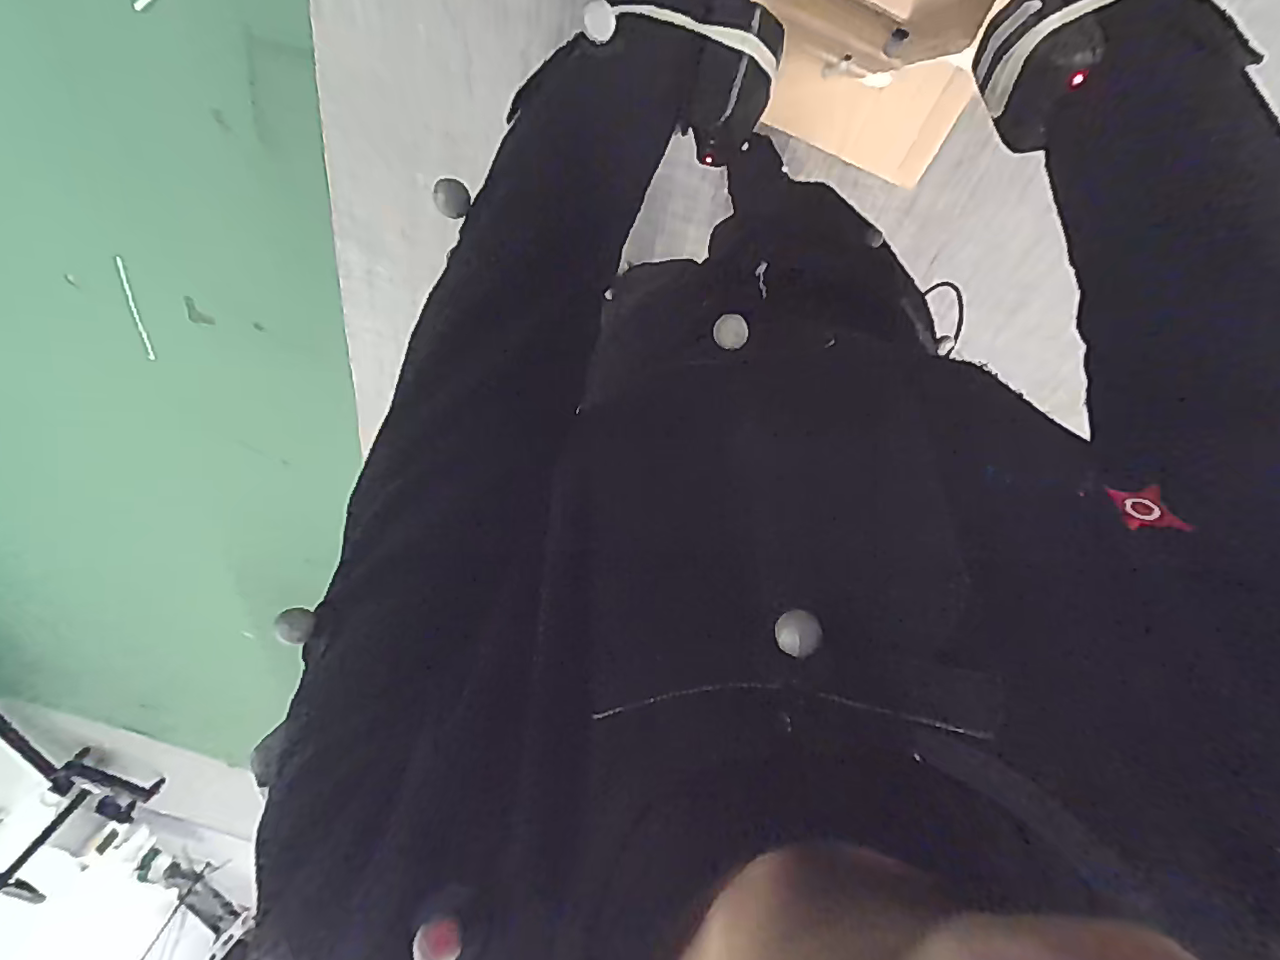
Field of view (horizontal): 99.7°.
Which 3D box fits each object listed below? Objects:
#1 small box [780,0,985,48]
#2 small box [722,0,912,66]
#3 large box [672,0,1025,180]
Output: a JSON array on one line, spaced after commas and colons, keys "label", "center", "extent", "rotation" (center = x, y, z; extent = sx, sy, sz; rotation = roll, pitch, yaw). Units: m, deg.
[{"label": "small box", "center": [0.162, -0.411, 0.350], "extent": [0.179, 0.176, 0.168], "rotation": [21, 126, -4]}, {"label": "small box", "center": [0.185, -0.498, 0.484], "extent": [0.179, 0.176, 0.168], "rotation": [20, 126, -1]}, {"label": "large box", "center": [0.297, -0.708, 0.812], "extent": [0.408, 0.320, 0.320], "rotation": [21, 129, -4]}]
